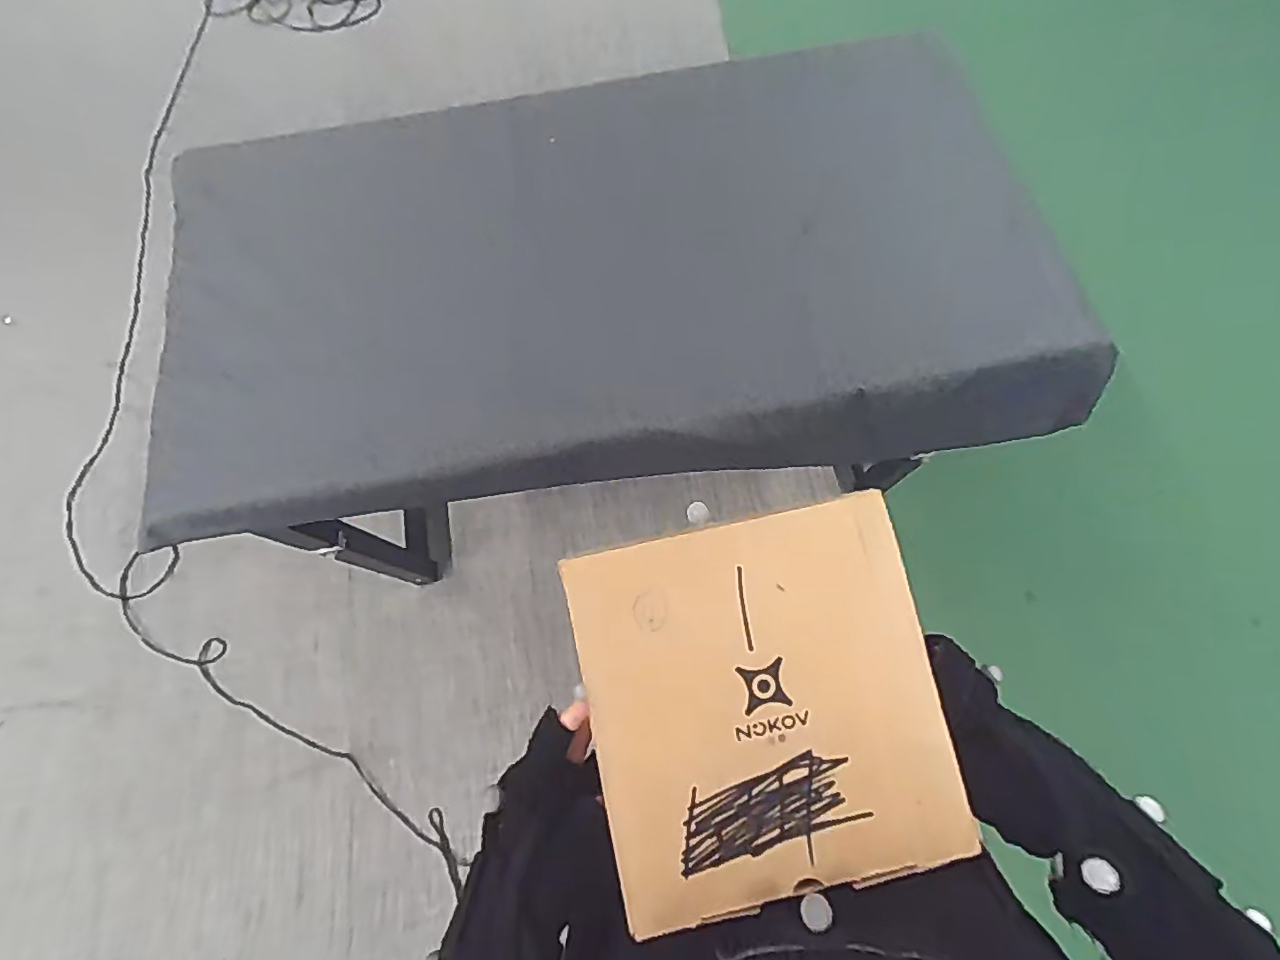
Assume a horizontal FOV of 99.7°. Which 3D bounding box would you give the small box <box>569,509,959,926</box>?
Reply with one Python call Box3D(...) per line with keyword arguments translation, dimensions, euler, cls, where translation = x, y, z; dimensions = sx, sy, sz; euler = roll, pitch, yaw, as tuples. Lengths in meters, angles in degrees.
Box3D(translation=(0.057, 0.121, 0.345), dimensions=(0.168, 0.176, 0.179), euler=(-11, 83, -3), cls="small box")
